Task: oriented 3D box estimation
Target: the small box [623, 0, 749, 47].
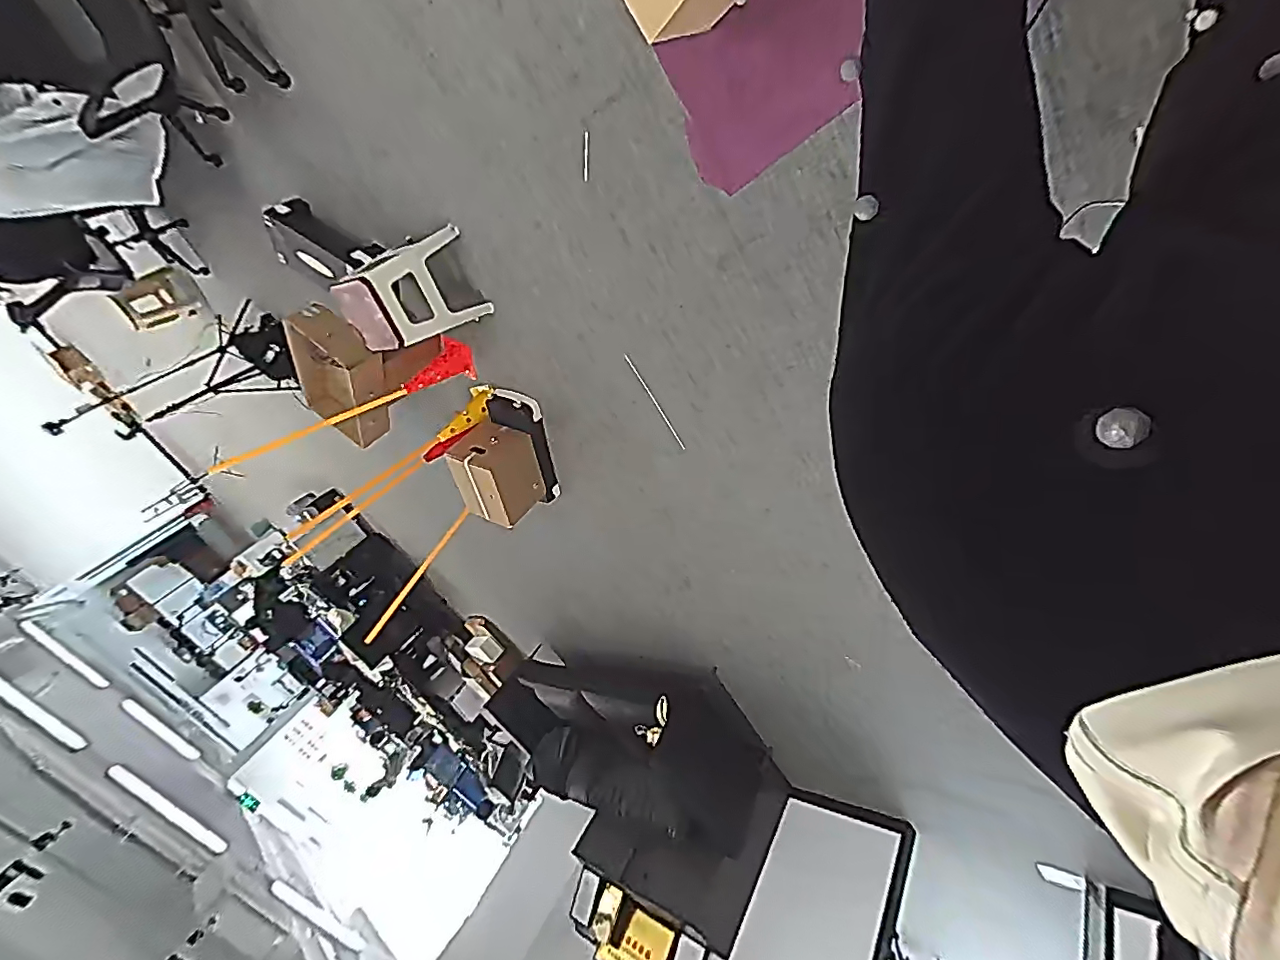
[{"bbox_3d":[0.060,-0.628,0.591,0.168,0.176,0.179,-17,115,50],"label":"small box"}]
